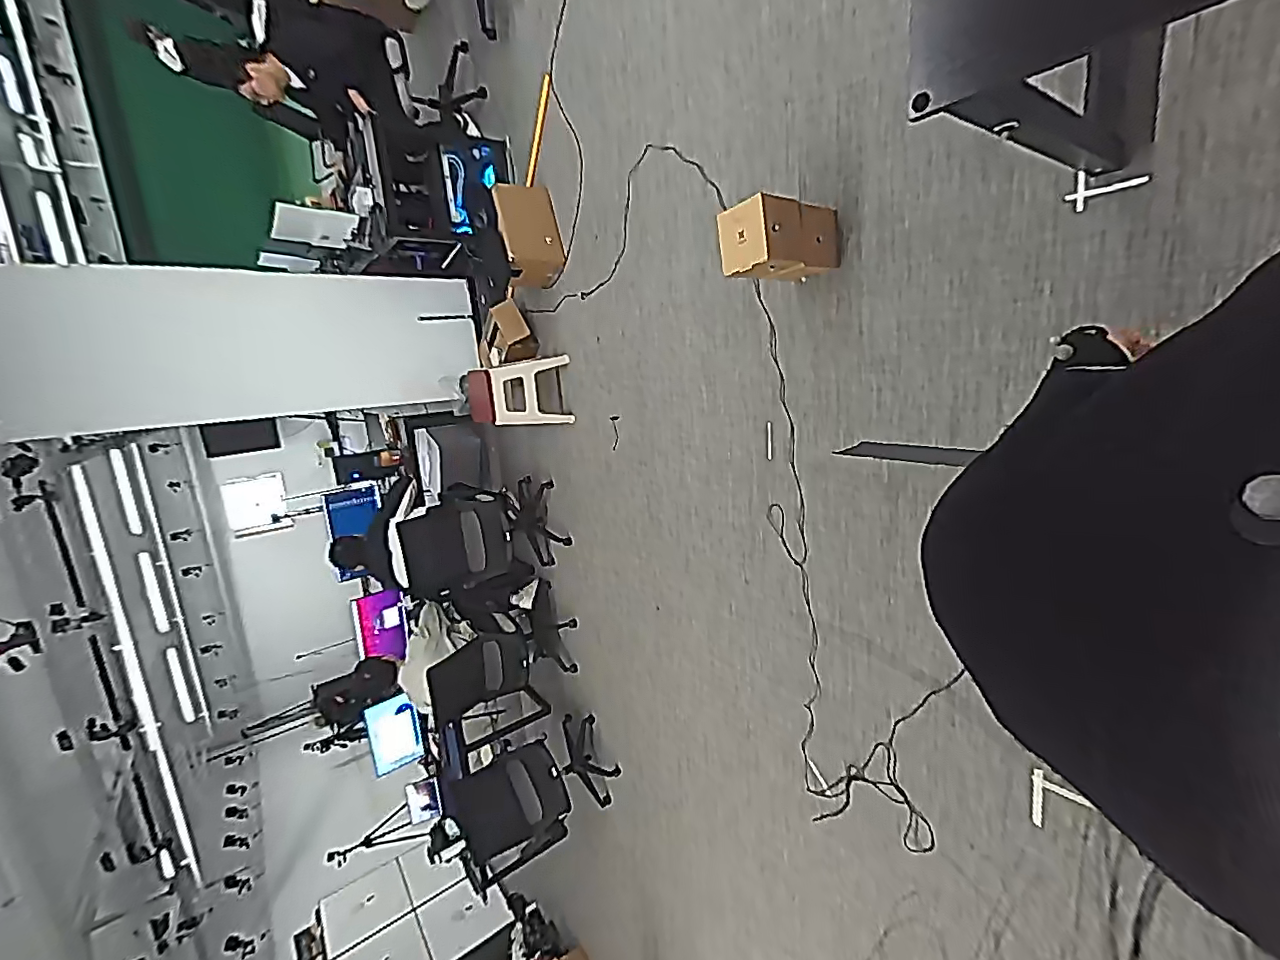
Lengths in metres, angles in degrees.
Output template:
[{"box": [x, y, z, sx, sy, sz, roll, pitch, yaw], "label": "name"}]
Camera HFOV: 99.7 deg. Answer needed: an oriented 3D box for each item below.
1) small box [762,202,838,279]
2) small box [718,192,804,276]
[{"box": [0.479, -0.714, 1.632, 0.168, 0.176, 0.179, 6, 106, 54], "label": "small box"}, {"box": [0.348, -0.691, 1.539, 0.168, 0.176, 0.179, 1, 100, 53], "label": "small box"}]
